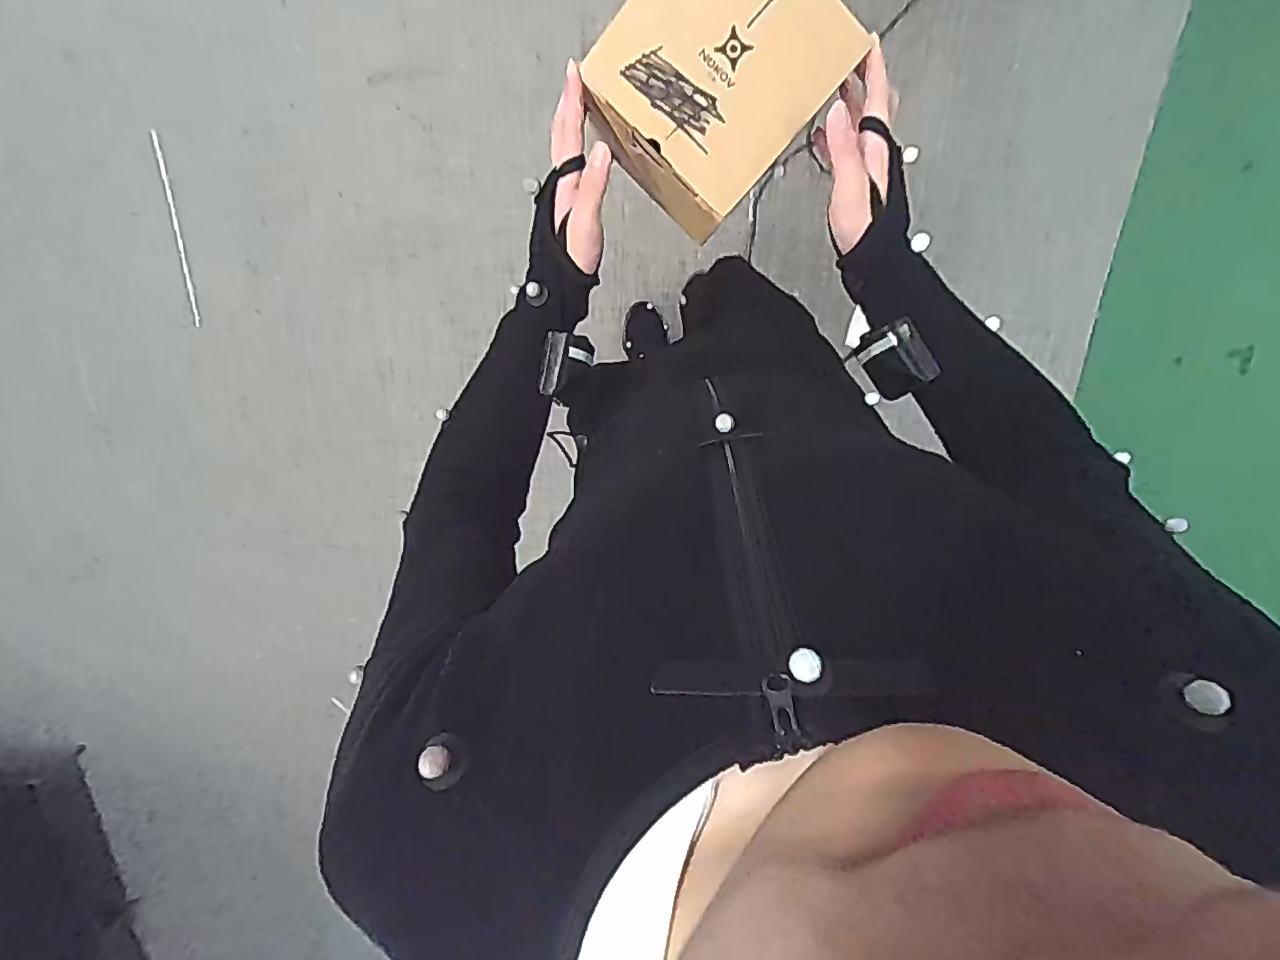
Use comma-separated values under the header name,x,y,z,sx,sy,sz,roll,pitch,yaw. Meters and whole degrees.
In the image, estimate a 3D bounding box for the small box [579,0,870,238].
name,x,y,z,sx,sy,sz,roll,pitch,yaw
small box,0.067,-0.357,0.505,0.168,0.176,0.179,42,101,-11

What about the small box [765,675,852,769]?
name,x,y,z,sx,sy,sz,roll,pitch,yaw
small box,0.478,0.694,1.568,0.179,0.176,0.168,13,109,-3
